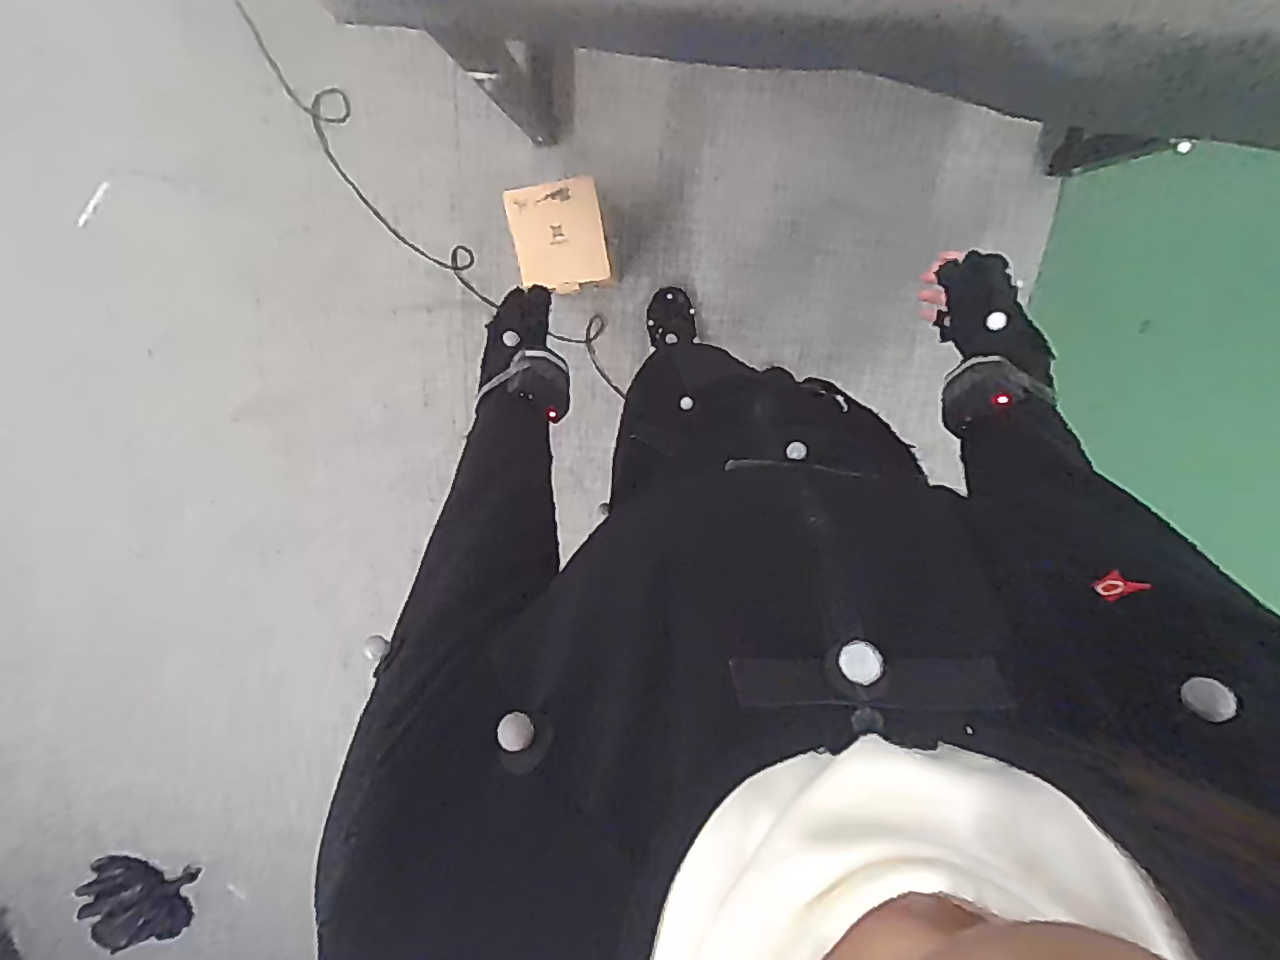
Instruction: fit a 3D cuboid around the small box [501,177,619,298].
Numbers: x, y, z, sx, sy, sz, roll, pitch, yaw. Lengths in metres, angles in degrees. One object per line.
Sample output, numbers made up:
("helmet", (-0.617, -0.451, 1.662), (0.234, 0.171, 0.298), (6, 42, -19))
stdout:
("small box", (-0.144, -0.462, 1.049), (0.168, 0.176, 0.179), (-10, 109, 8))
